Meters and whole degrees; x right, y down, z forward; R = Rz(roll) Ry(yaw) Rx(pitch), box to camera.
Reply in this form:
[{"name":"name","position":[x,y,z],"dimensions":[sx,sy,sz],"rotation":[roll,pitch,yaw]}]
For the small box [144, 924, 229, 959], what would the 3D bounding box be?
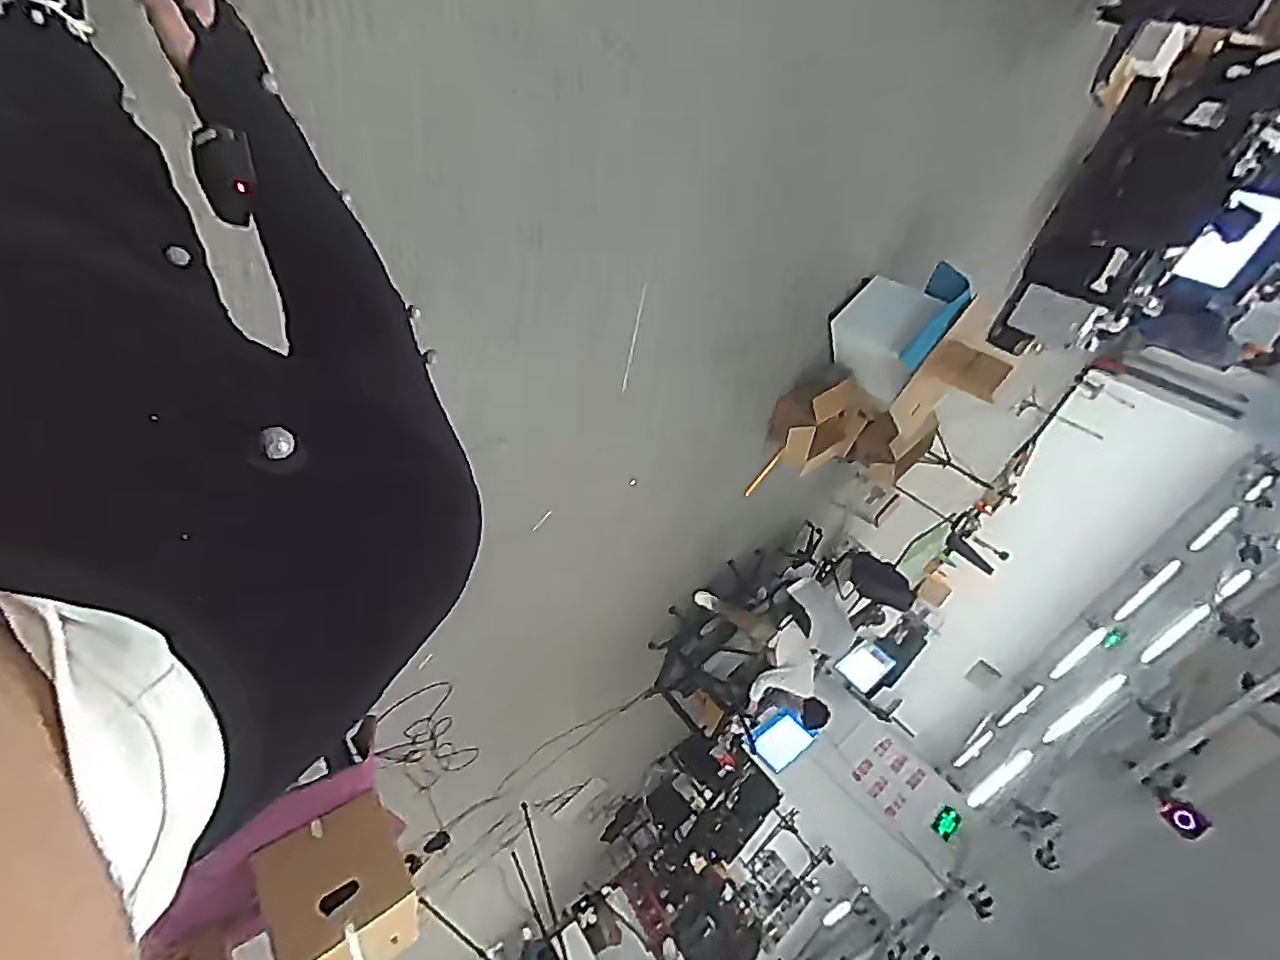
[{"name":"small box","position":[-1.188,1.324,1.420],"dimensions":[0.168,0.176,0.179],"rotation":[-16,135,-39]}]
